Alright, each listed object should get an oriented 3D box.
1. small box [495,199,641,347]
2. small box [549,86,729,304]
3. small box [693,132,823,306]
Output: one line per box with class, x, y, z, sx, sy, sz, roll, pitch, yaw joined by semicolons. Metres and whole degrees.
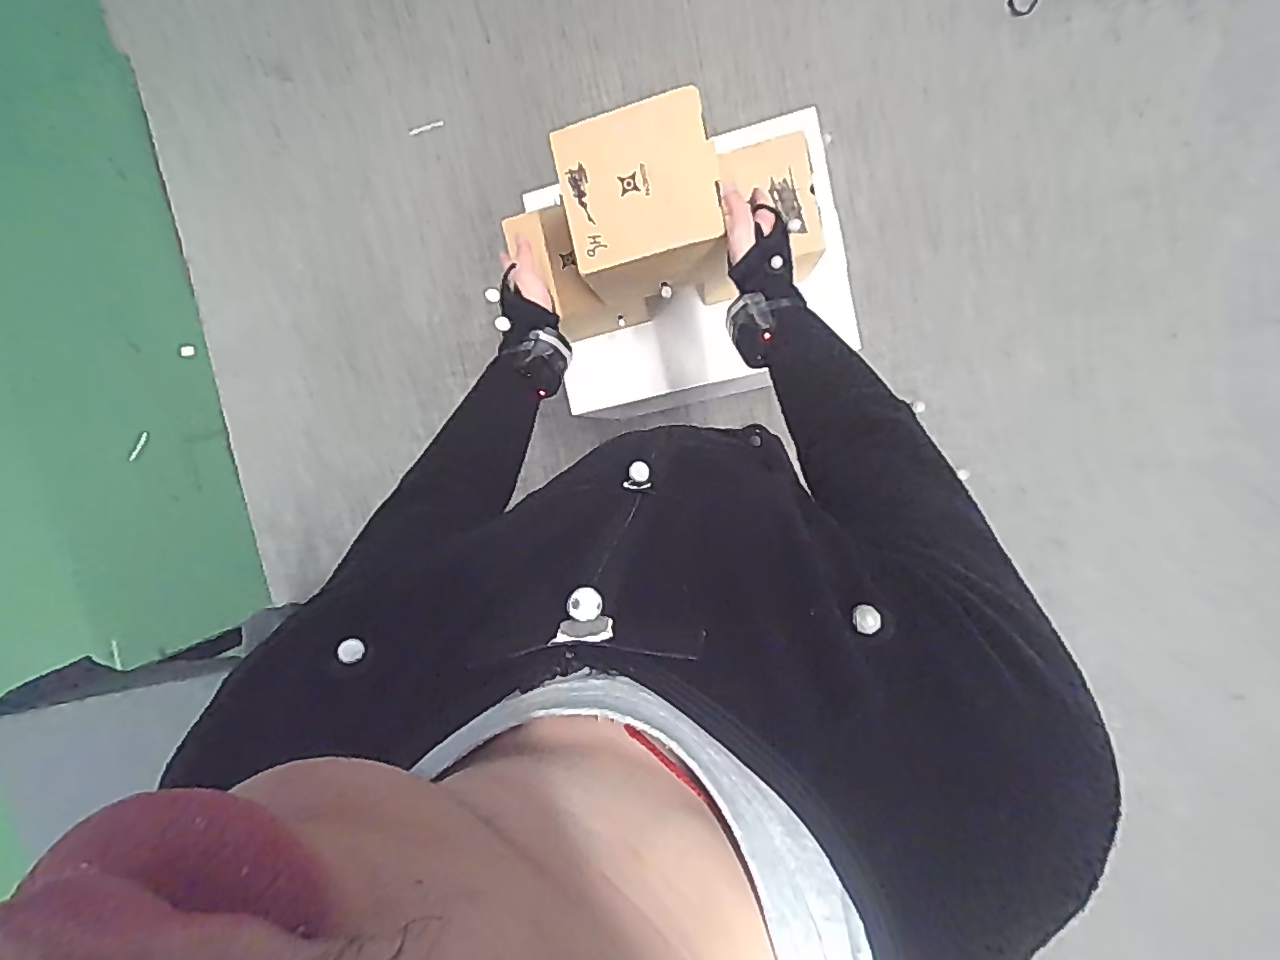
small box;-0.100;-0.321;0.851;0.179;0.176;0.168;-14;92;7
small box;0.005;-0.335;0.674;0.179;0.176;0.168;-12;93;7
small box;0.158;-0.379;0.817;0.179;0.176;0.168;-12;94;8
